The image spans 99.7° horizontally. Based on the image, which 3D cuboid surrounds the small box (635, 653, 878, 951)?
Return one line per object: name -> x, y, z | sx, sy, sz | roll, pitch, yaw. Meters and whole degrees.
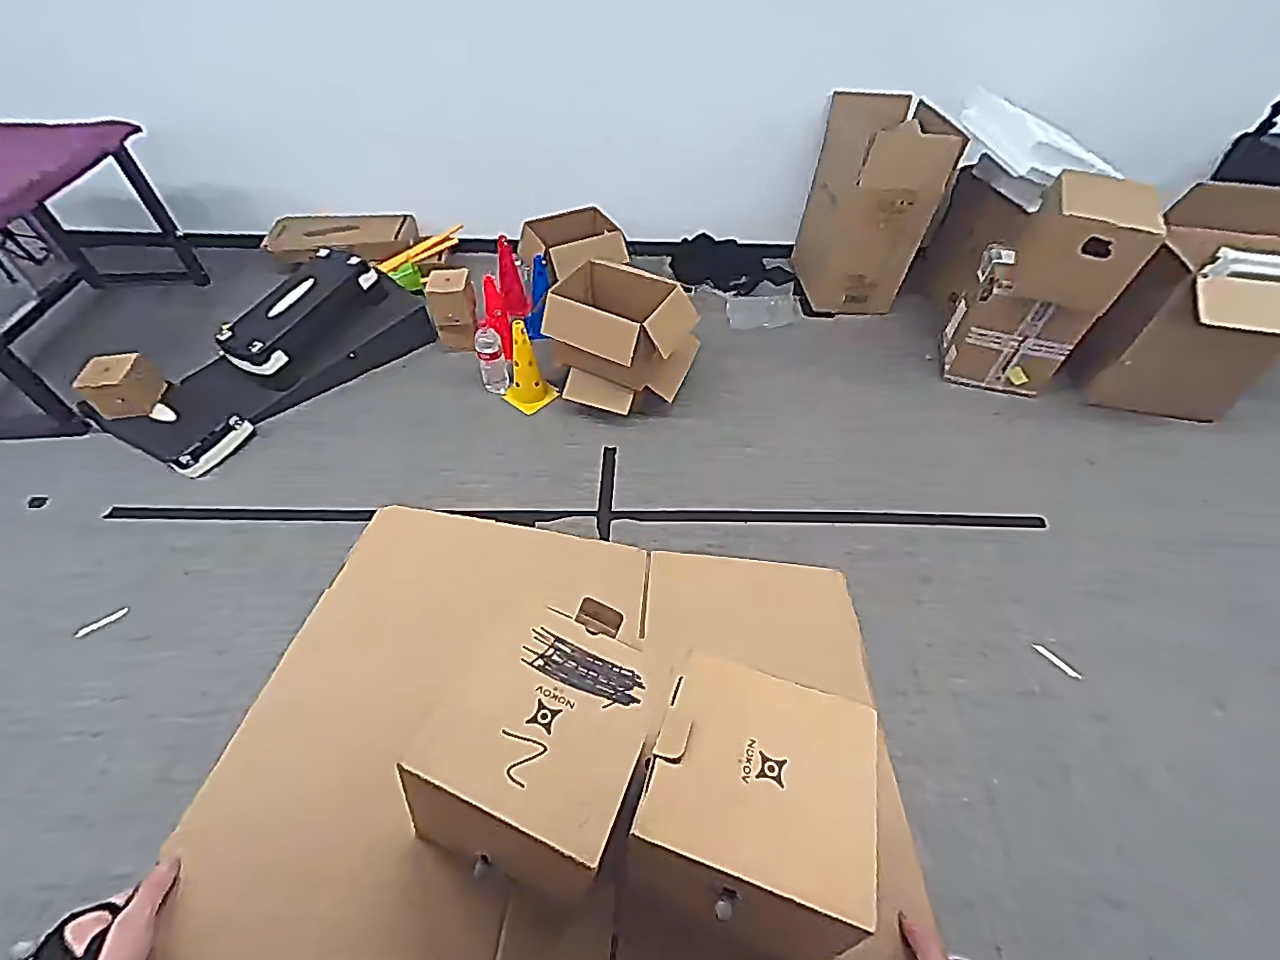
small box -> 0.103, 0.297, 0.501 | 0.179, 0.176, 0.168 | 14, 42, 12
